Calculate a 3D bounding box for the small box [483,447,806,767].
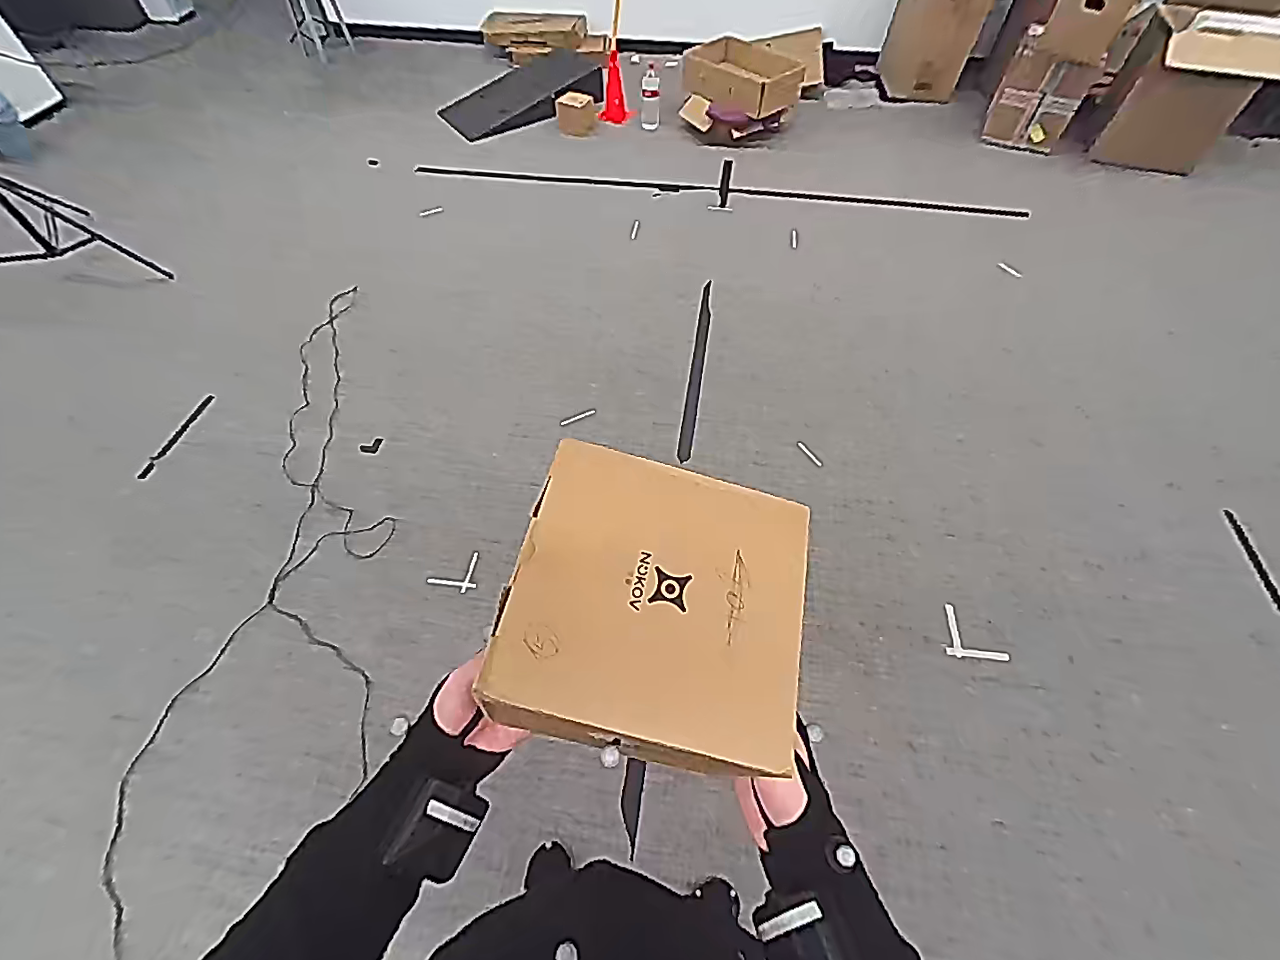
[{"bbox_3d":[0.001,0.105,0.401,0.179,0.176,0.168,16,61,-3],"label":"small box"}]
